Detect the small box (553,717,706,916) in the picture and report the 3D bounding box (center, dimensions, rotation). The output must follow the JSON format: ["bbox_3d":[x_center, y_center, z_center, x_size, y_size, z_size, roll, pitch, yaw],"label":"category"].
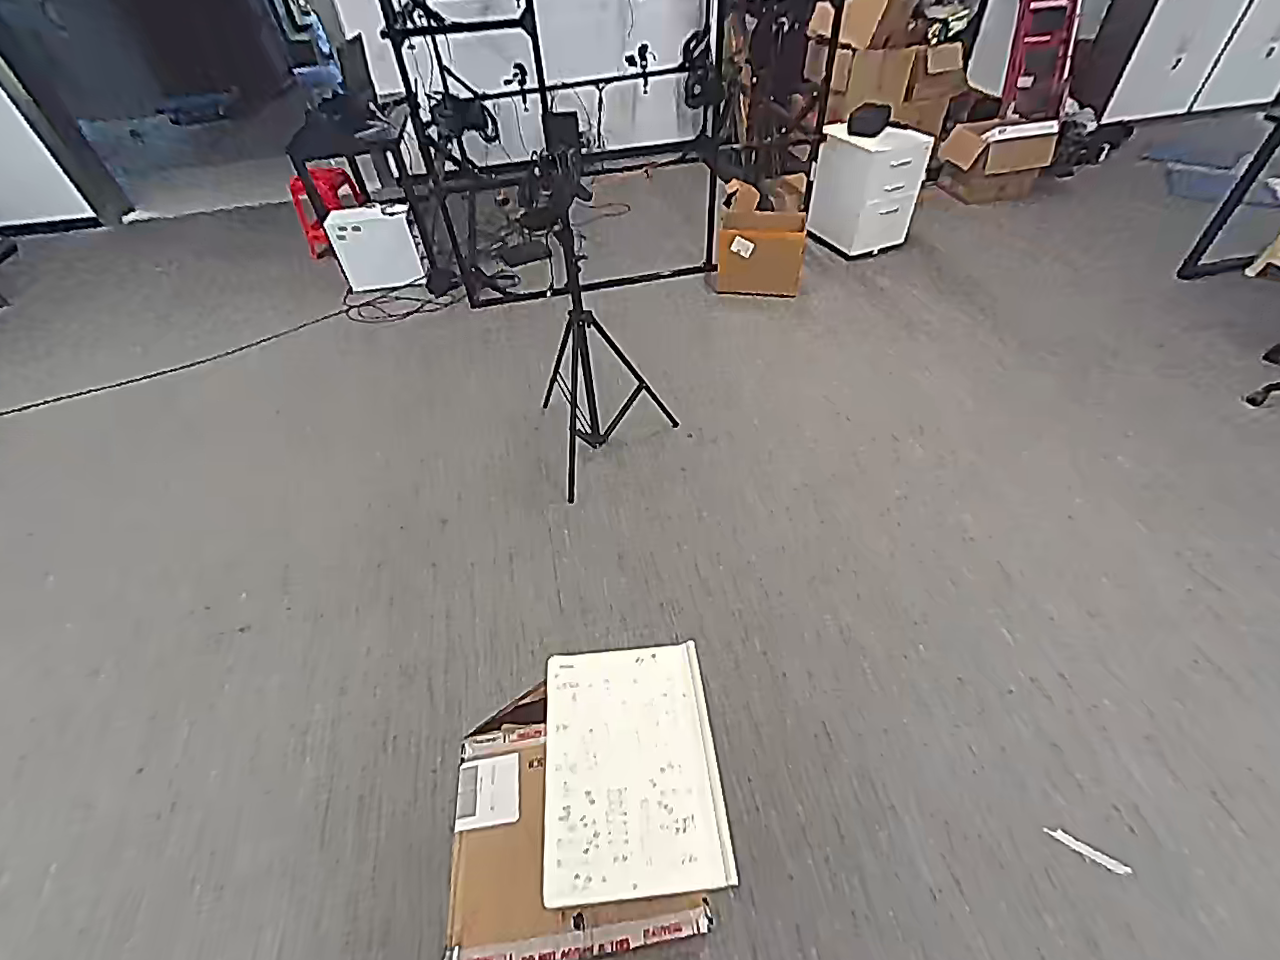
[{"bbox_3d":[-0.018,0.423,0.682,0.168,0.176,0.179,-5,48,-4],"label":"small box"}]

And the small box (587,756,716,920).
[{"bbox_3d":[0.002,0.532,0.805,0.179,0.176,0.168,-8,47,-6],"label":"small box"}]
